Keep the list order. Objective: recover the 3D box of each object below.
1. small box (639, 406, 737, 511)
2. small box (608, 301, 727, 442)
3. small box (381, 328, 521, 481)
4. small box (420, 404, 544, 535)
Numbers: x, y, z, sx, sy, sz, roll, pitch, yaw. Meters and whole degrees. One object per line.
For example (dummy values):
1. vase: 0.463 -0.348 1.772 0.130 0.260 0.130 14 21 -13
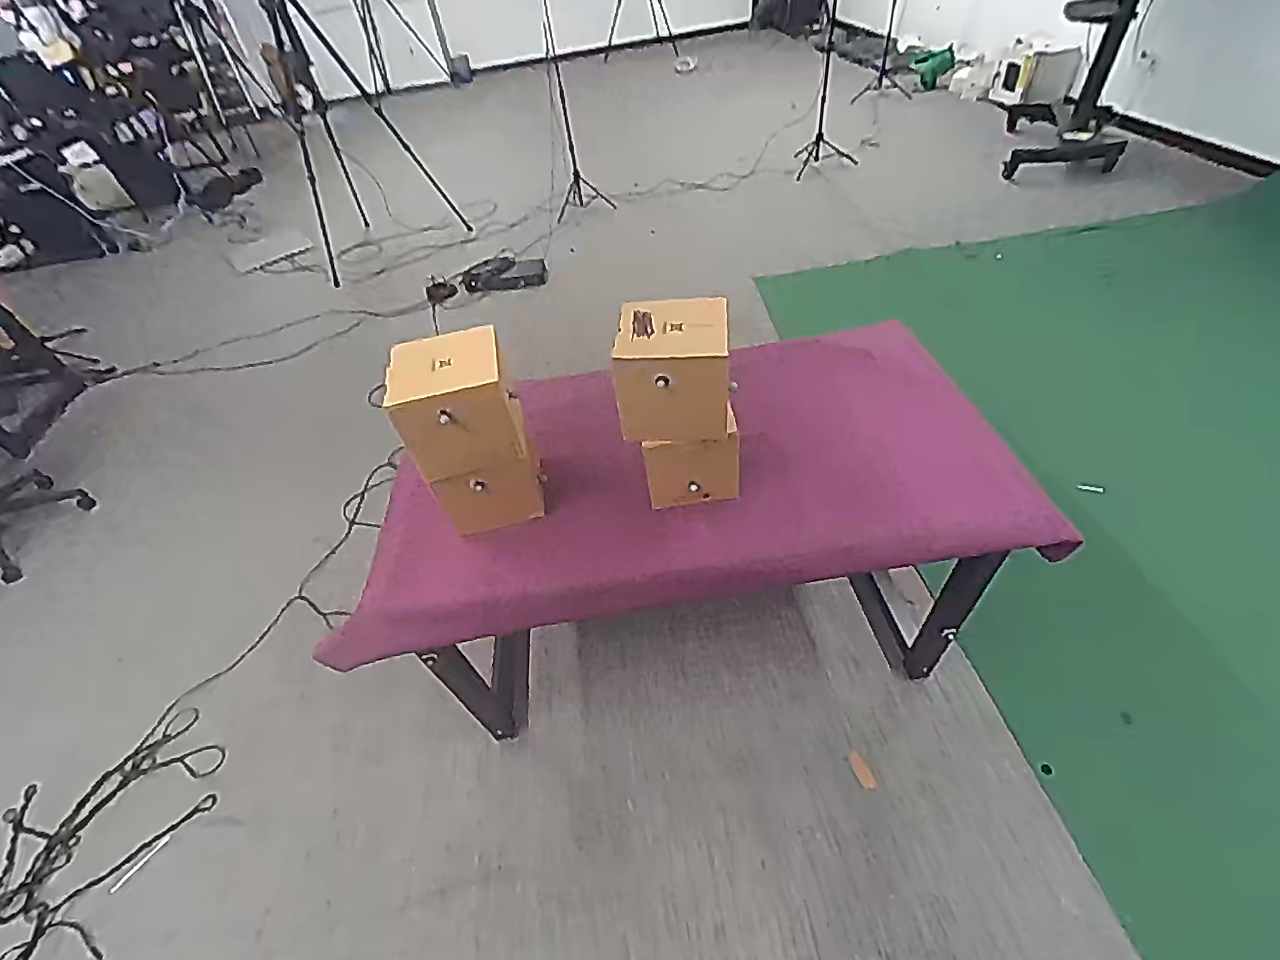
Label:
1. small box: 0.083 -0.067 1.015 0.168 0.176 0.179 -8 46 2
2. small box: 0.054 -0.175 0.894 0.179 0.176 0.168 0 47 8
3. small box: -0.303 -0.124 0.905 0.179 0.176 0.168 -14 48 -4
4. small box: -0.292 -0.017 1.025 0.179 0.176 0.168 -12 47 -3
